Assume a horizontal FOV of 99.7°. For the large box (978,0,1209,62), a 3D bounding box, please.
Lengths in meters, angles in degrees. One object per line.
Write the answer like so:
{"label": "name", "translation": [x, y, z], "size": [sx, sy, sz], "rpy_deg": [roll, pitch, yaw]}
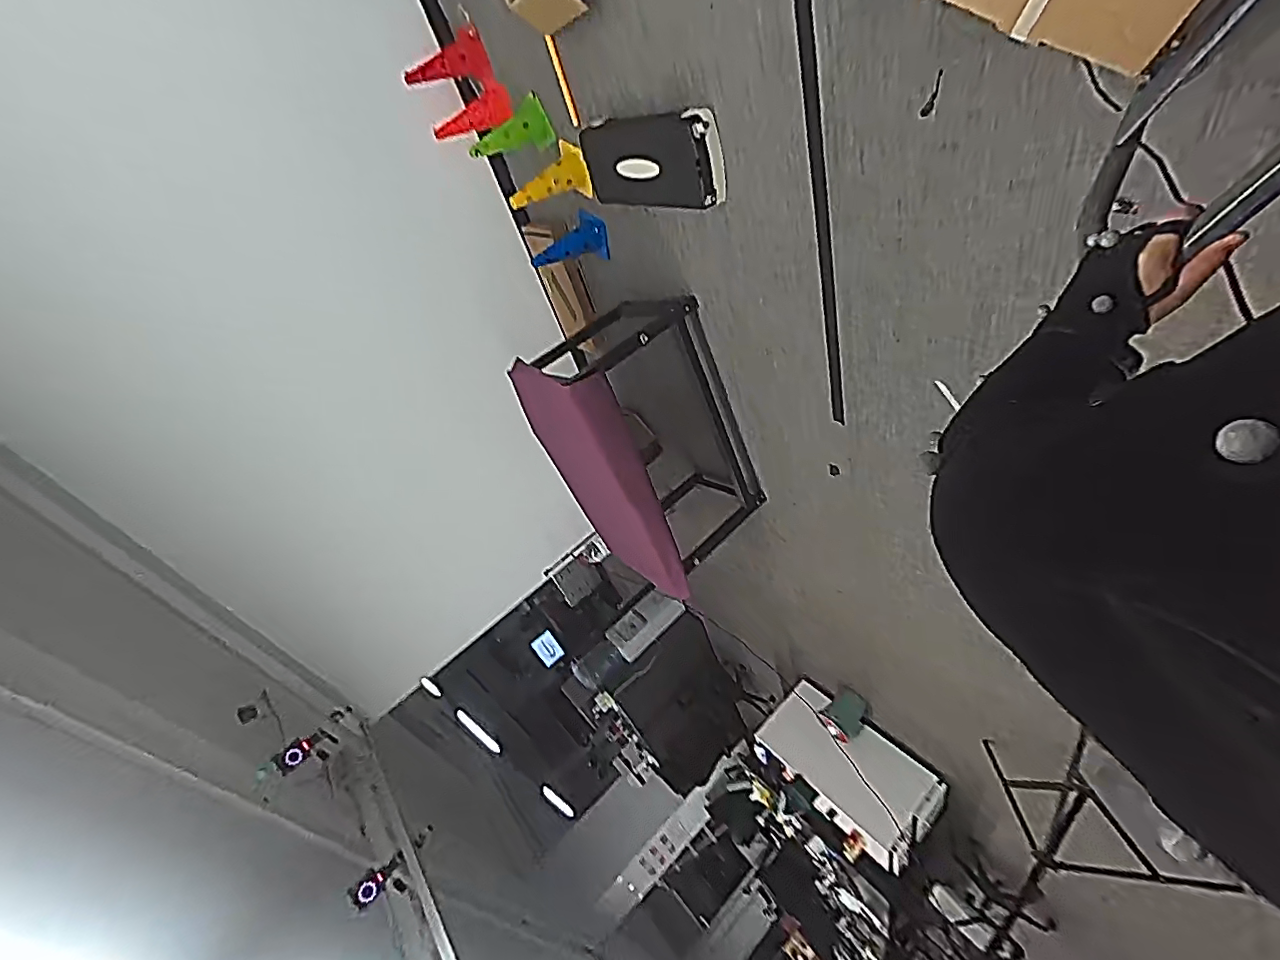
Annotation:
{"label": "large box", "translation": [0.614, -0.787, 0.585], "size": [0.320, 0.320, 0.408], "rpy_deg": [35, 156, 13]}
